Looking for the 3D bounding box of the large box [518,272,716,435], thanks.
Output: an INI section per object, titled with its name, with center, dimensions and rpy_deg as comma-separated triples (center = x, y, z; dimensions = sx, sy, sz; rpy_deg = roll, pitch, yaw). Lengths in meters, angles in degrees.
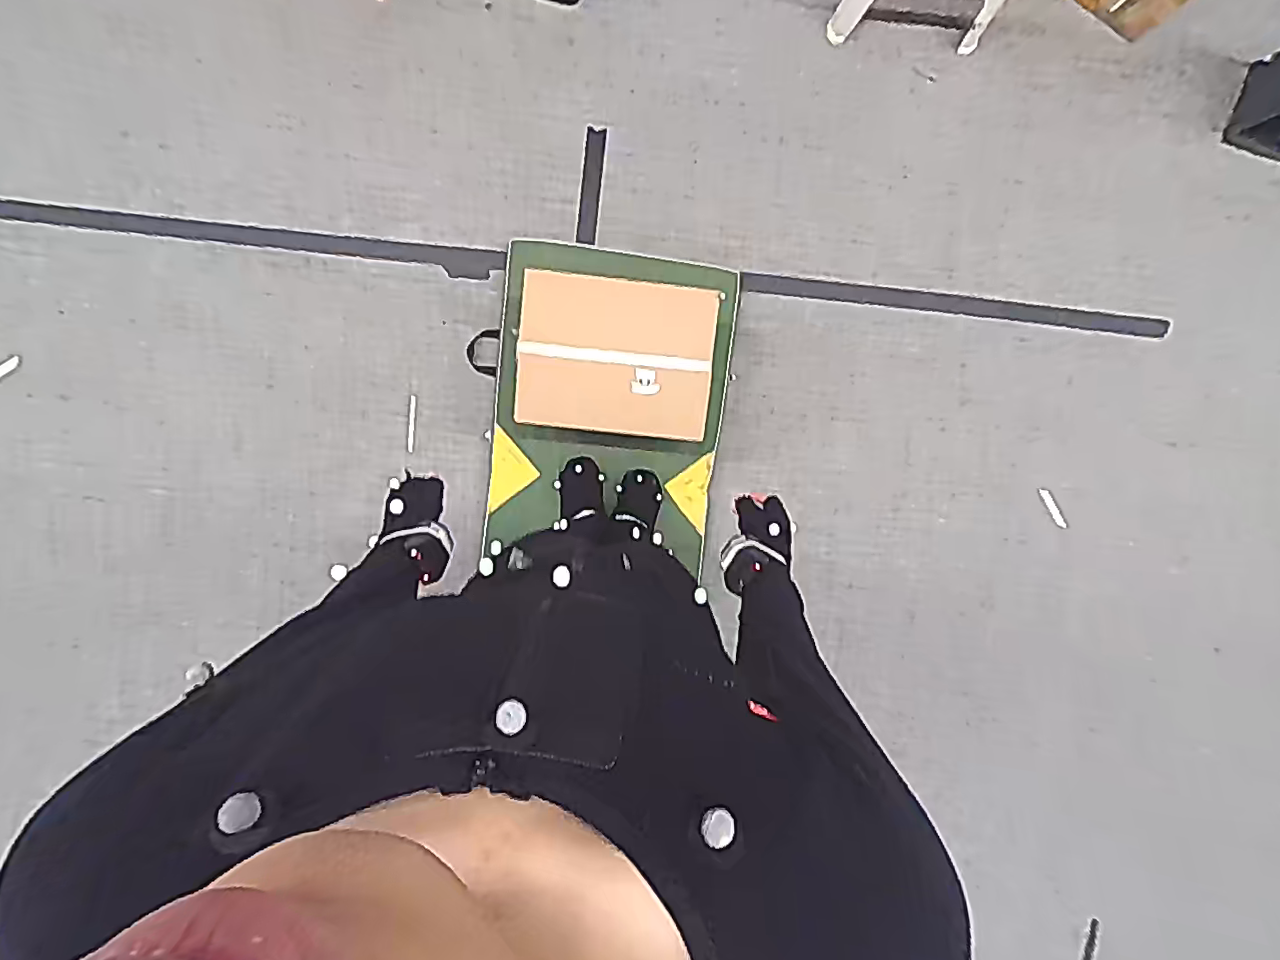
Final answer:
[large box]
center = -0.058, -0.279, 1.284
dimensions = 0.408, 0.320, 0.320
rpy_deg = 5, 97, -3
